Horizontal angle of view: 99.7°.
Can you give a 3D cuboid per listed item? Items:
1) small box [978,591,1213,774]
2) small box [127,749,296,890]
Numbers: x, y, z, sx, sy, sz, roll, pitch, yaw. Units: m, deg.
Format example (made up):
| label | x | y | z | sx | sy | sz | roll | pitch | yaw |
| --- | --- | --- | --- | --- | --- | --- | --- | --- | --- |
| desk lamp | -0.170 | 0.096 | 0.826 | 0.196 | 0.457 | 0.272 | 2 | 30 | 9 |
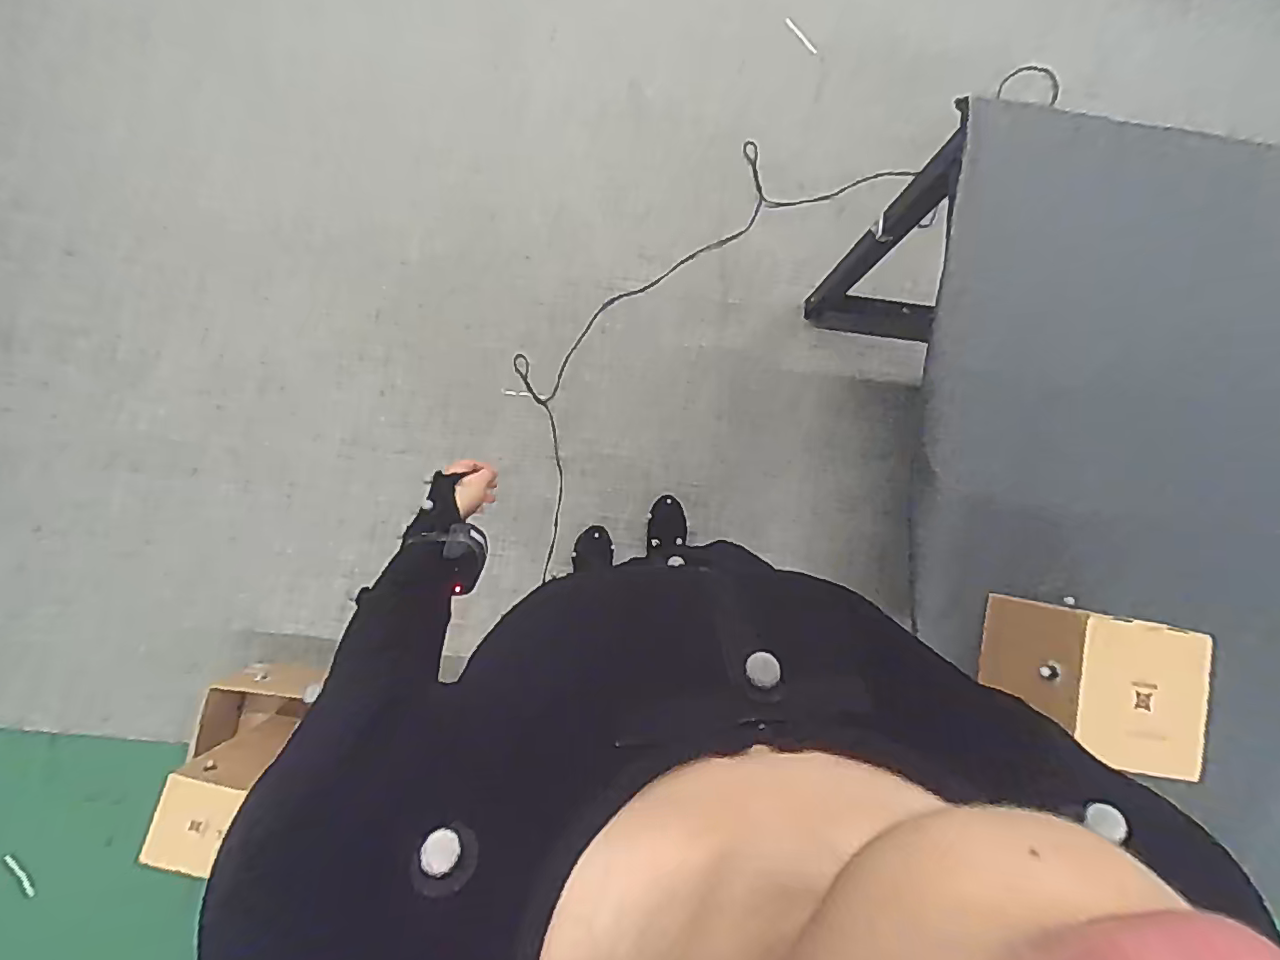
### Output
| label | x | y | z | sx | sy | sz | roll | pitch | yaw |
| --- | --- | --- | --- | --- | --- | --- | --- | --- | --- |
| small box | 0.581 | 0.250 | 0.710 | 0.168 | 0.176 | 0.179 | 10 | 85 | -4 |
| small box | -0.841 | 0.663 | 1.080 | 0.179 | 0.176 | 0.168 | 16 | 83 | -4 |
